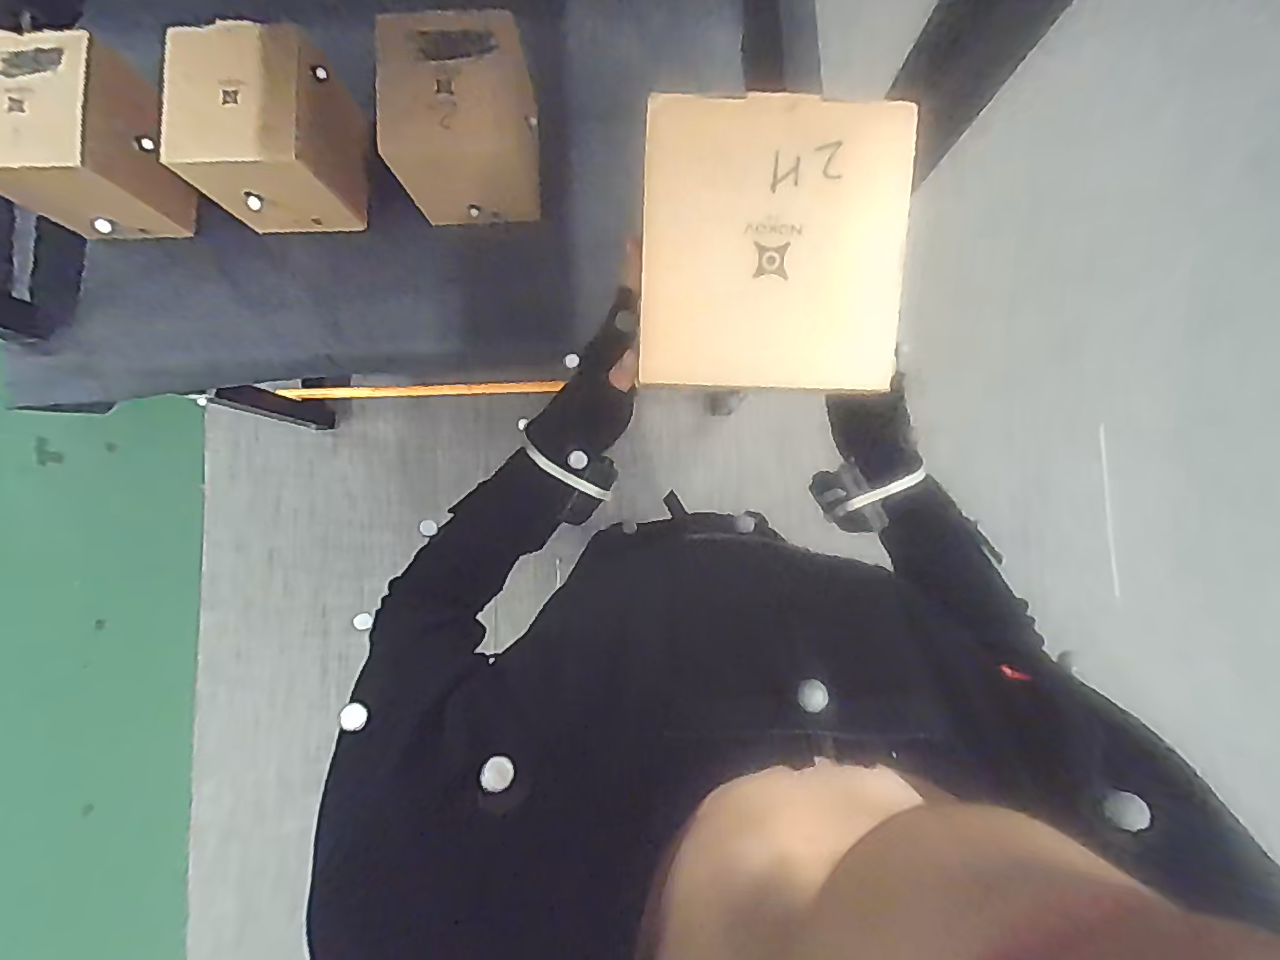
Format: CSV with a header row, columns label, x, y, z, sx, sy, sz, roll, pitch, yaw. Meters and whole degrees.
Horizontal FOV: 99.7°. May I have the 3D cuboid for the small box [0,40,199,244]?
label,x,y,z,sx,sy,sz,roll,pitch,yaw
small box,-0.744,-0.447,0.736,0.168,0.176,0.179,-1,86,1

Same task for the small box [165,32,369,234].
label,x,y,z,sx,sy,sz,roll,pitch,yaw
small box,-0.491,-0.455,0.737,0.168,0.176,0.179,-1,85,0
